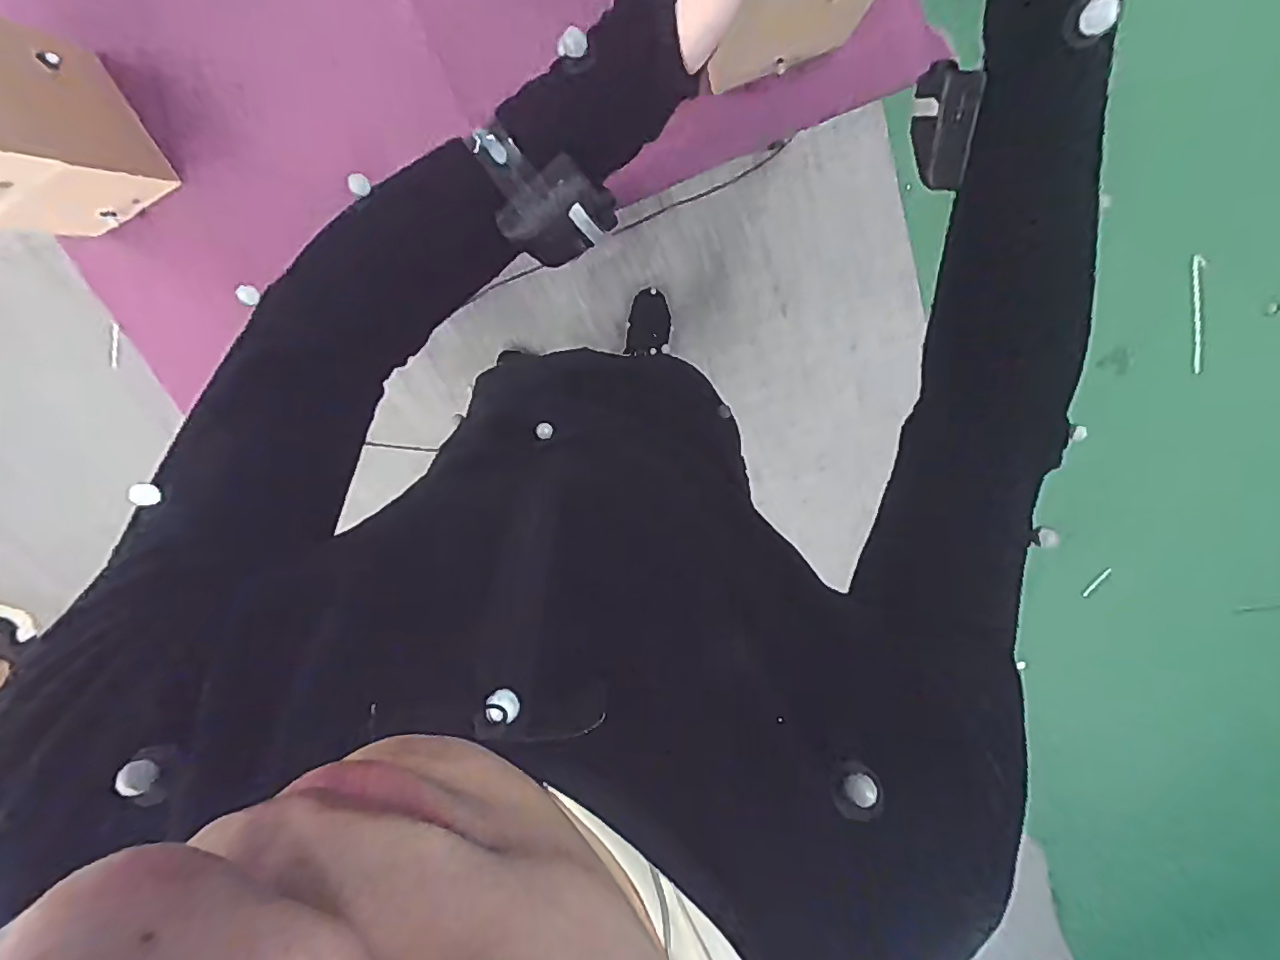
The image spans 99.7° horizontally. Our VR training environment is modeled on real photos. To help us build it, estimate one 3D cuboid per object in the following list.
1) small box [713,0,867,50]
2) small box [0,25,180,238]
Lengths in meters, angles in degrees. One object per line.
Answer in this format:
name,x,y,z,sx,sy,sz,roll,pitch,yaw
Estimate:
small box,0.129,-0.497,0.426,0.168,0.176,0.179,-15,108,11
small box,-0.759,-0.427,0.683,0.168,0.176,0.179,-22,109,12
